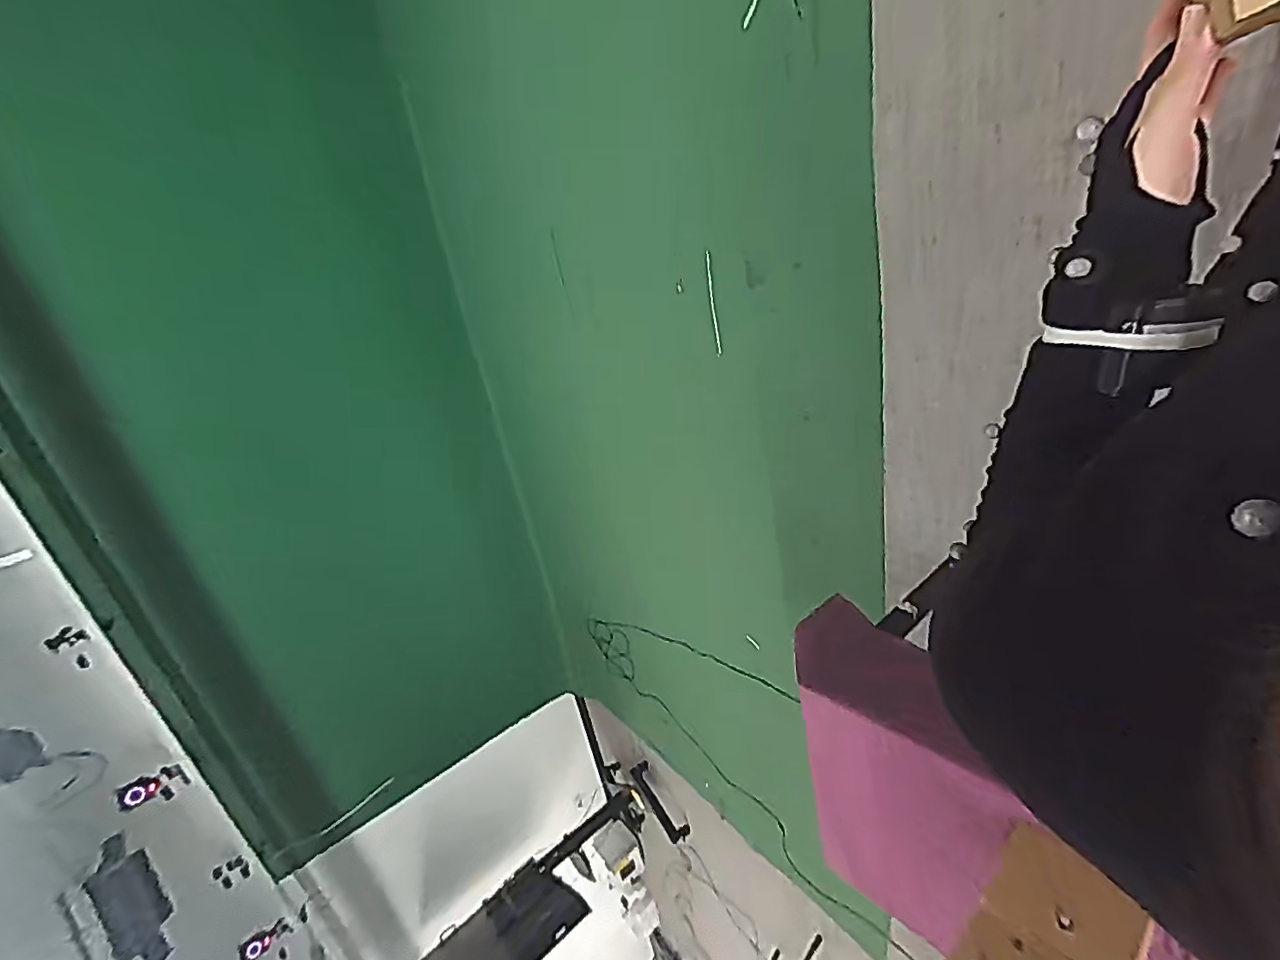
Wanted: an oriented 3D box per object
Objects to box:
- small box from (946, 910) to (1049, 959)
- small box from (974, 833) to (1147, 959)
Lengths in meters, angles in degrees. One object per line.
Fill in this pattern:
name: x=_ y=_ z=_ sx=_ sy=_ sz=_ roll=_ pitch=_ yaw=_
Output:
small box: x=0.520 y=0.768 z=0.753 sx=0.168 sy=0.176 sz=0.179 roll=13 pitch=123 yaw=52
small box: x=0.644 y=0.703 z=0.836 sx=0.179 sy=0.176 sz=0.168 roll=16 pitch=123 yaw=51
